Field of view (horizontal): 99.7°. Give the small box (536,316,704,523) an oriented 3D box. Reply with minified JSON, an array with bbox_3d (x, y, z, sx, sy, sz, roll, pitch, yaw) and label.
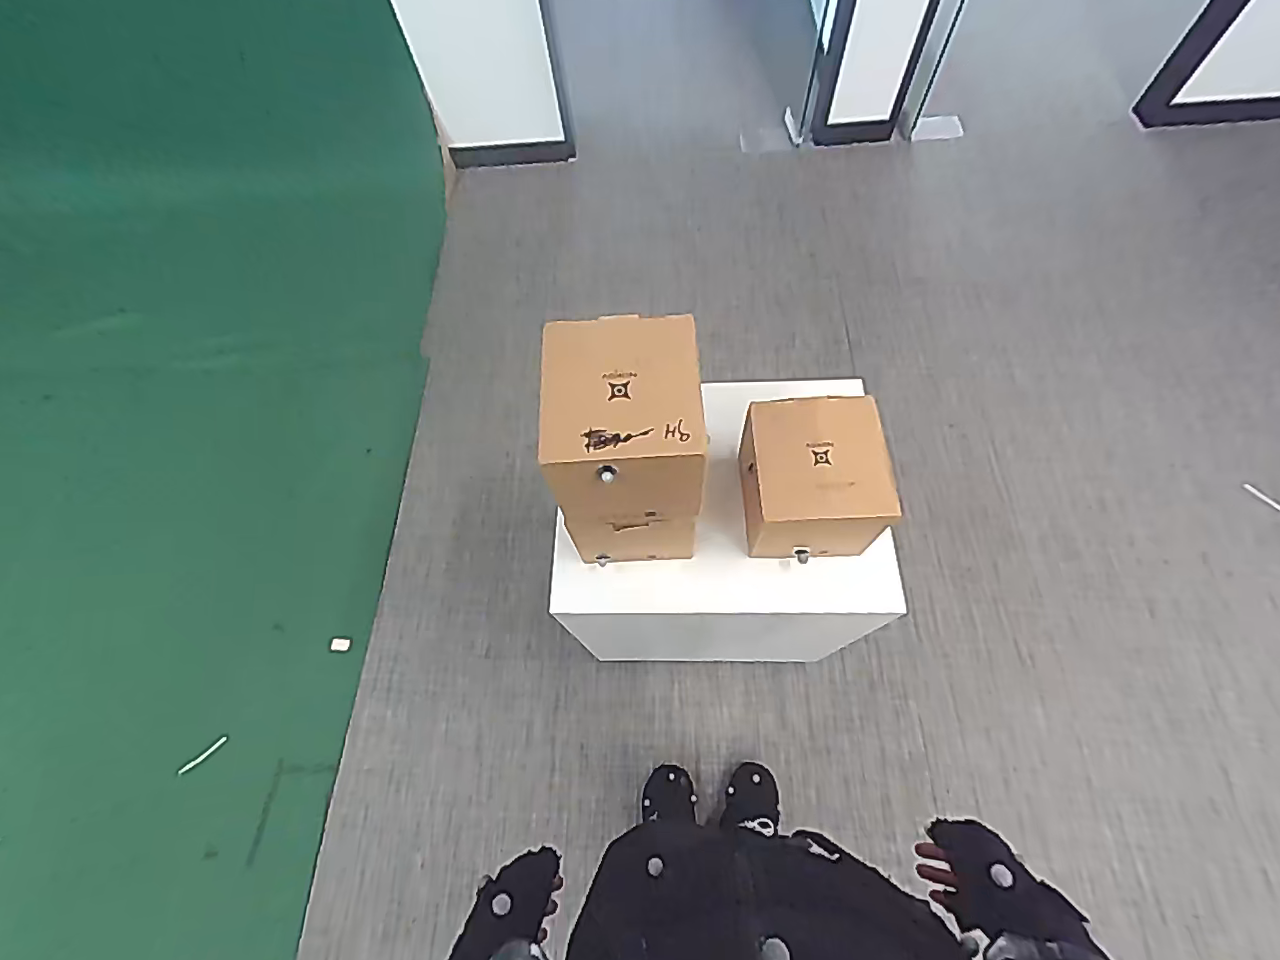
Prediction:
[{"bbox_3d":[-0.018,-0.064,0.631,0.168,0.176,0.179,-4,64,3],"label":"small box"}]

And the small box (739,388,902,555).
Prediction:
[{"bbox_3d":[0.233,-0.005,0.749,0.168,0.176,0.179,-4,67,4],"label":"small box"}]

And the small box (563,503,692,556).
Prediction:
[{"bbox_3d":[-0.012,0.006,0.777,0.168,0.176,0.179,-3,64,2],"label":"small box"}]
